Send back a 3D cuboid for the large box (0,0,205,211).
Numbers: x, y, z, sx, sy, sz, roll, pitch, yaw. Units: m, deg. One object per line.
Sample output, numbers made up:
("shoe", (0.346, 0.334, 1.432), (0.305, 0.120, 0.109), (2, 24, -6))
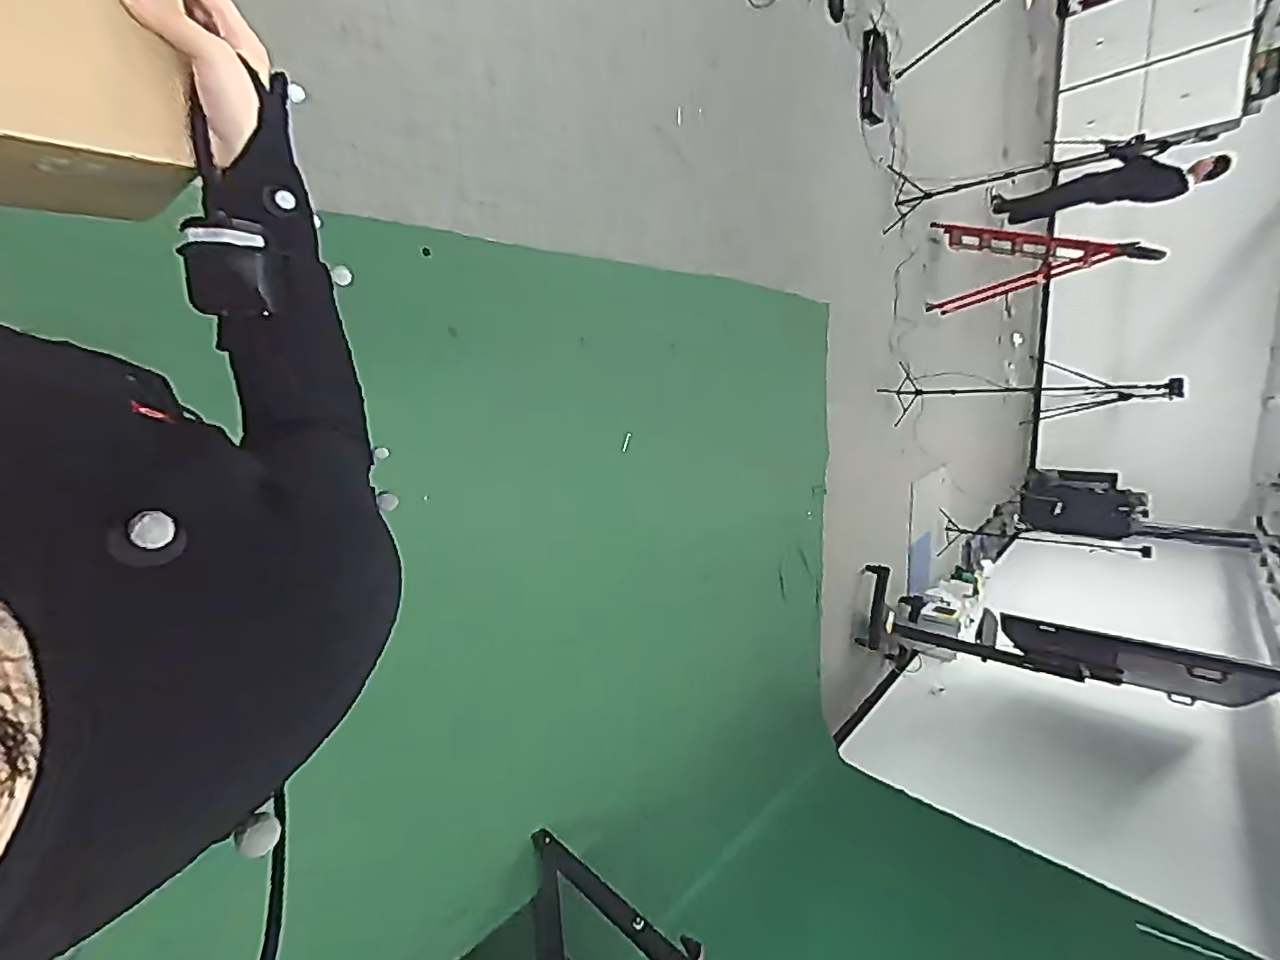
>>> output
("large box", (-0.560, -0.367, 0.307), (0.408, 0.320, 0.320), (-16, 114, -46))
